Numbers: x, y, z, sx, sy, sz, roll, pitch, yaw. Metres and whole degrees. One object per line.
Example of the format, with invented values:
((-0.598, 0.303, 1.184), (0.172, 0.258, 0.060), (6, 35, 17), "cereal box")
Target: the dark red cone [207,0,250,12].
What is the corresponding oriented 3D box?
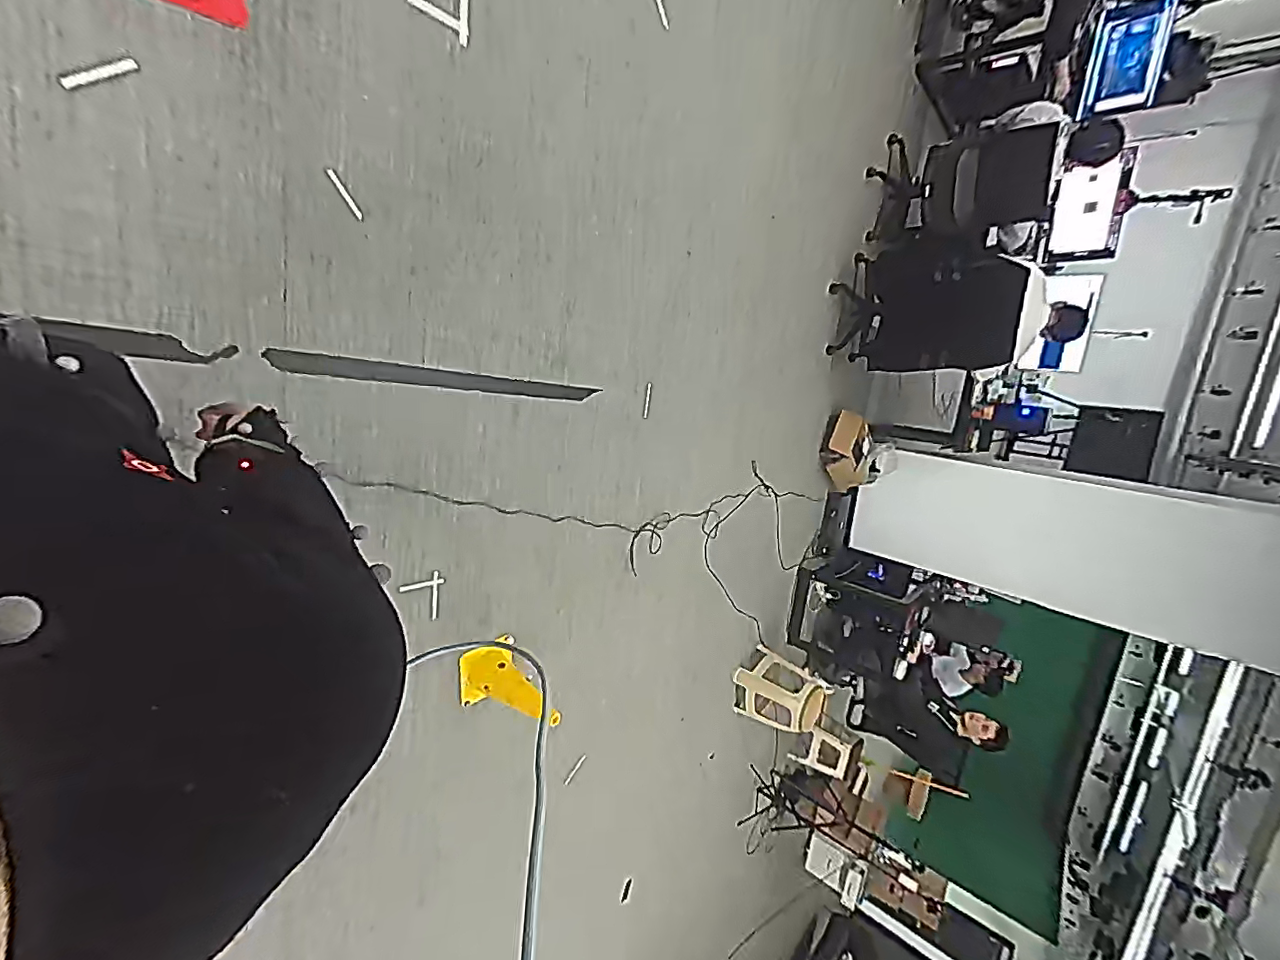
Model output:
((-0.660, -0.900, 0.806), (0.202, 0.394, 0.201), (-15, 115, -47), "dark red cone")
